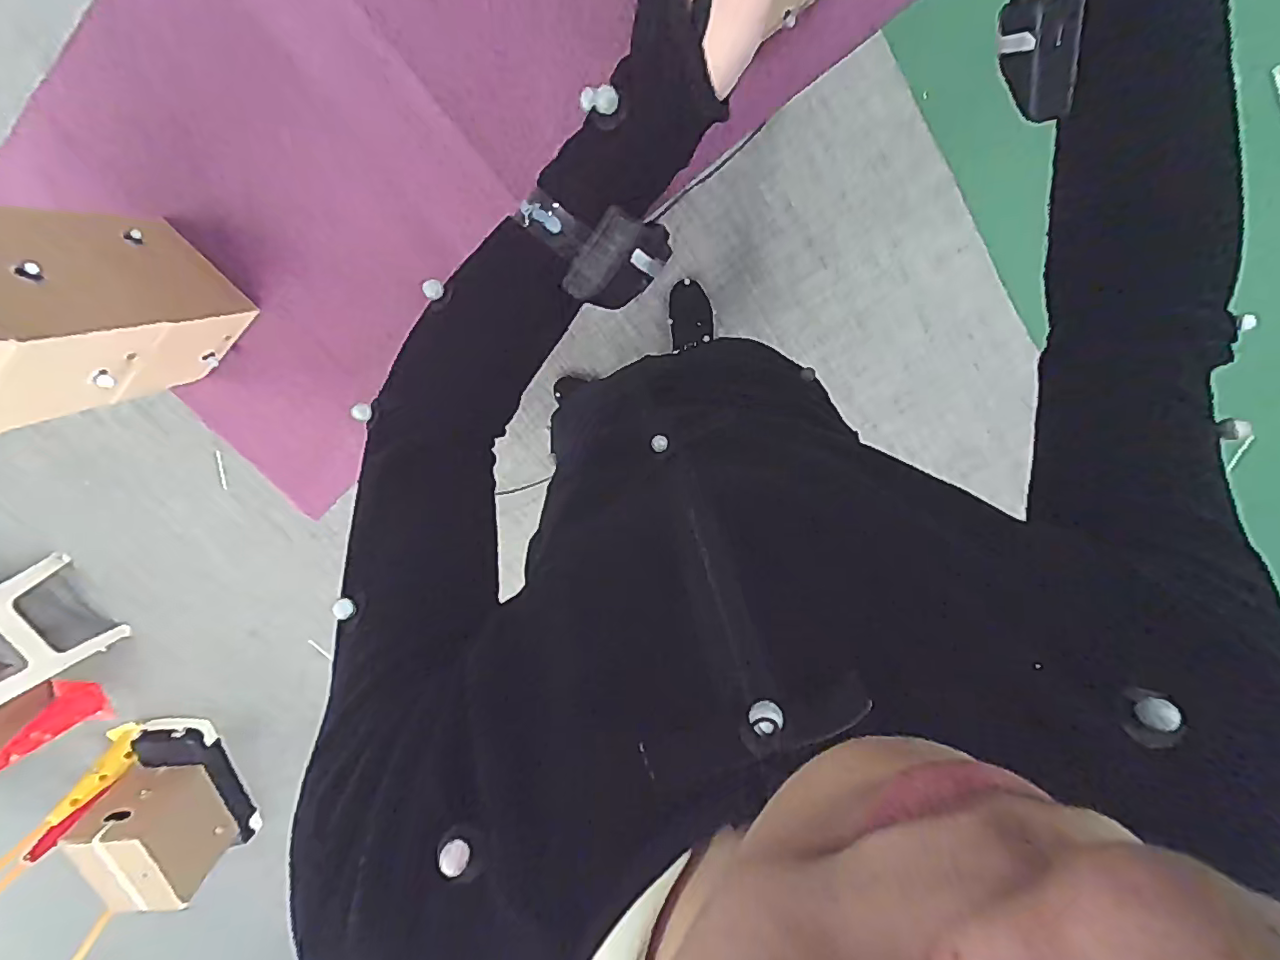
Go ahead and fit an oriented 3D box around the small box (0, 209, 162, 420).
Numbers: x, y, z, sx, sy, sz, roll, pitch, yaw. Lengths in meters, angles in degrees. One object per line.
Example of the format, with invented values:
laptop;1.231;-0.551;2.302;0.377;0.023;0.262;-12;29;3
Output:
small box;-0.714;-0.183;0.605;0.168;0.176;0.179;-37;106;18

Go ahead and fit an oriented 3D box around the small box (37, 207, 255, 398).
small box;-0.705;-0.246;0.756;0.168;0.176;0.179;-37;107;17
